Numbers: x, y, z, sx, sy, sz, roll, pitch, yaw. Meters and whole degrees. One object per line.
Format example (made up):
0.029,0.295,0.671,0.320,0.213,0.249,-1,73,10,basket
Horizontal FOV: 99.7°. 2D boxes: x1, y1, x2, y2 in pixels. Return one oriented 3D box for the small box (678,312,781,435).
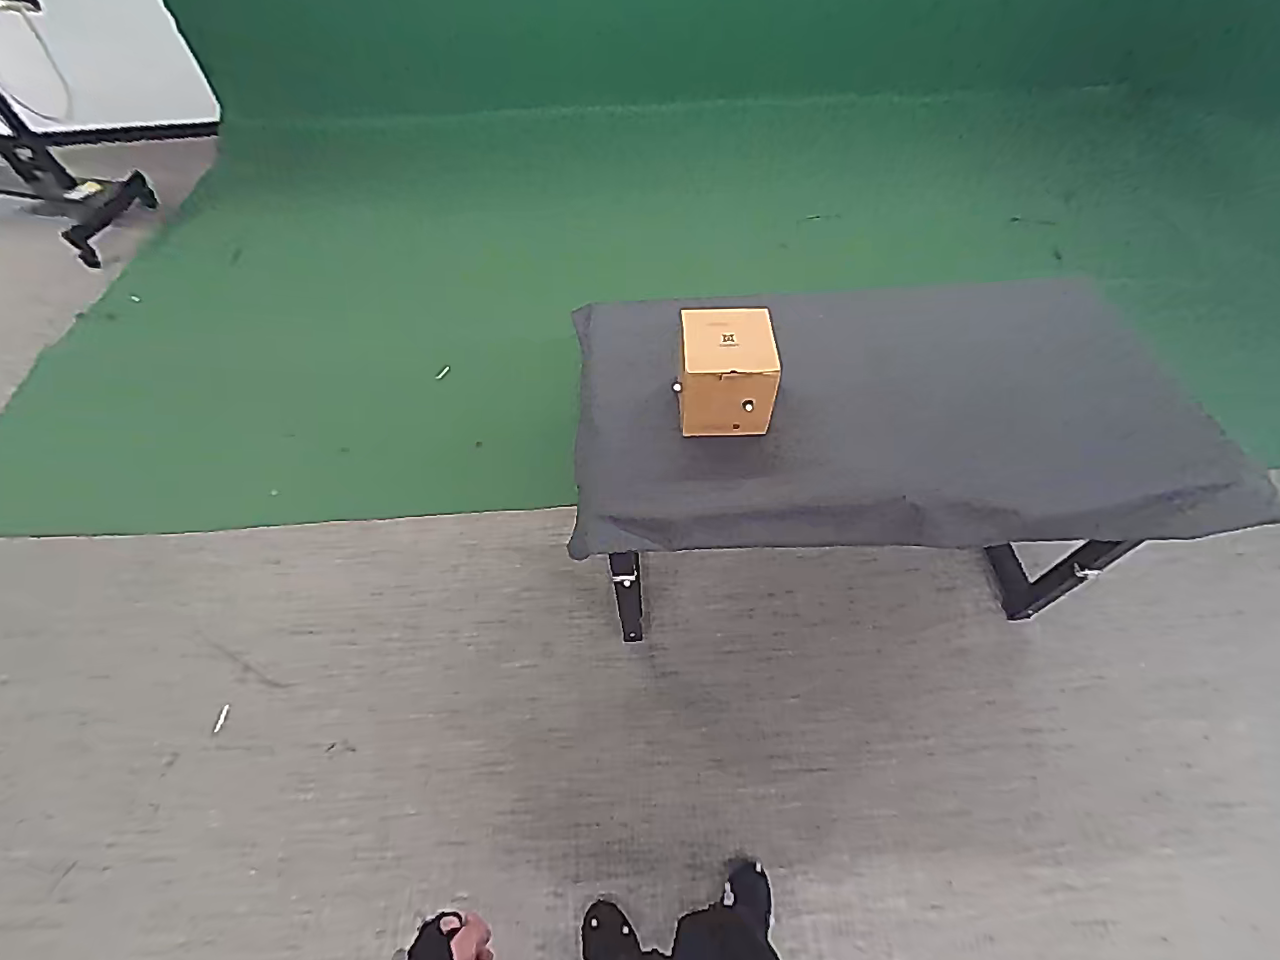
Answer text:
0.162,-0.201,1.042,0.168,0.176,0.179,-1,54,-1,small box
